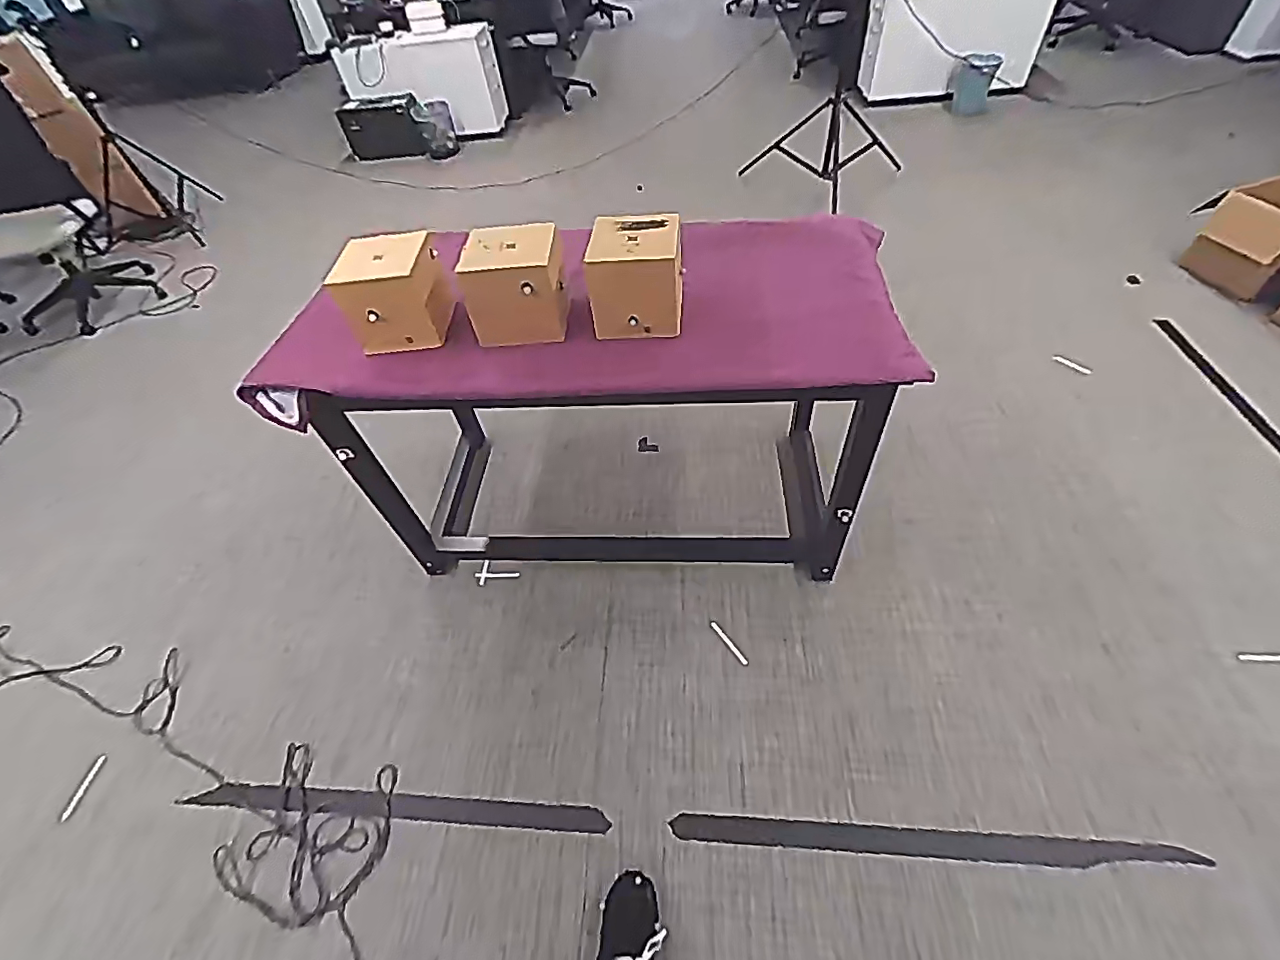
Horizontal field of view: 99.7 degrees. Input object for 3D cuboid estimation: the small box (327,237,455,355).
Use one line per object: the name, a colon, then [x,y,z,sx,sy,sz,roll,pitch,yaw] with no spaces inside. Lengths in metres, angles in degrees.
small box: [-0.499,-0.372,1.116,0.168,0.176,0.179,-6,49,2]

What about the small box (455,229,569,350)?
small box: [-0.245,-0.380,1.088,0.179,0.176,0.168,-4,49,3]
